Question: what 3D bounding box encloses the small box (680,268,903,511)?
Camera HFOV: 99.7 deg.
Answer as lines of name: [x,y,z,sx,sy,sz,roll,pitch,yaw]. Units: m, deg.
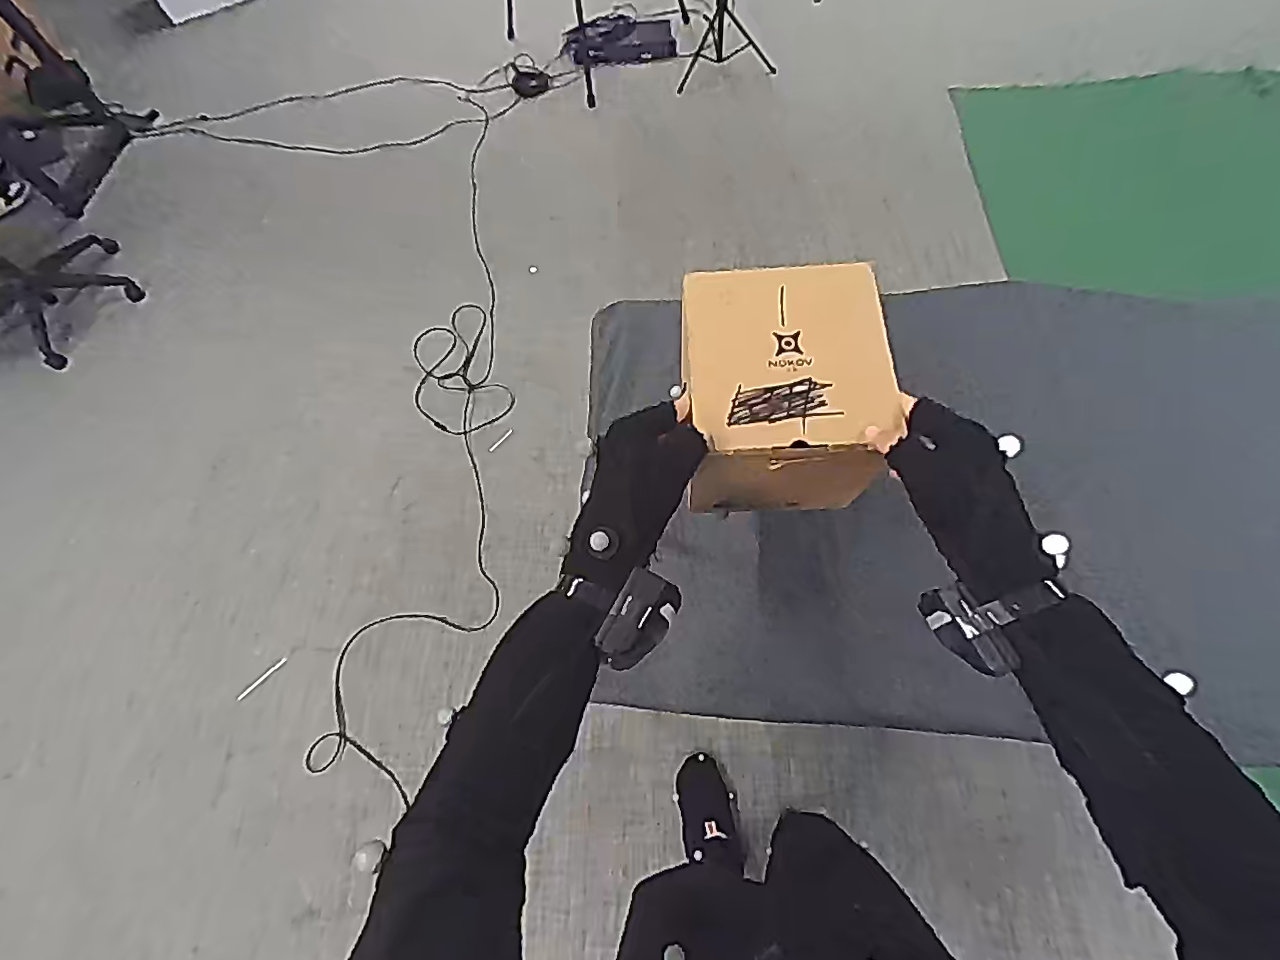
small box: [0.125,-0.072,0.519,0.168,0.176,0.179,-3,69,3]
